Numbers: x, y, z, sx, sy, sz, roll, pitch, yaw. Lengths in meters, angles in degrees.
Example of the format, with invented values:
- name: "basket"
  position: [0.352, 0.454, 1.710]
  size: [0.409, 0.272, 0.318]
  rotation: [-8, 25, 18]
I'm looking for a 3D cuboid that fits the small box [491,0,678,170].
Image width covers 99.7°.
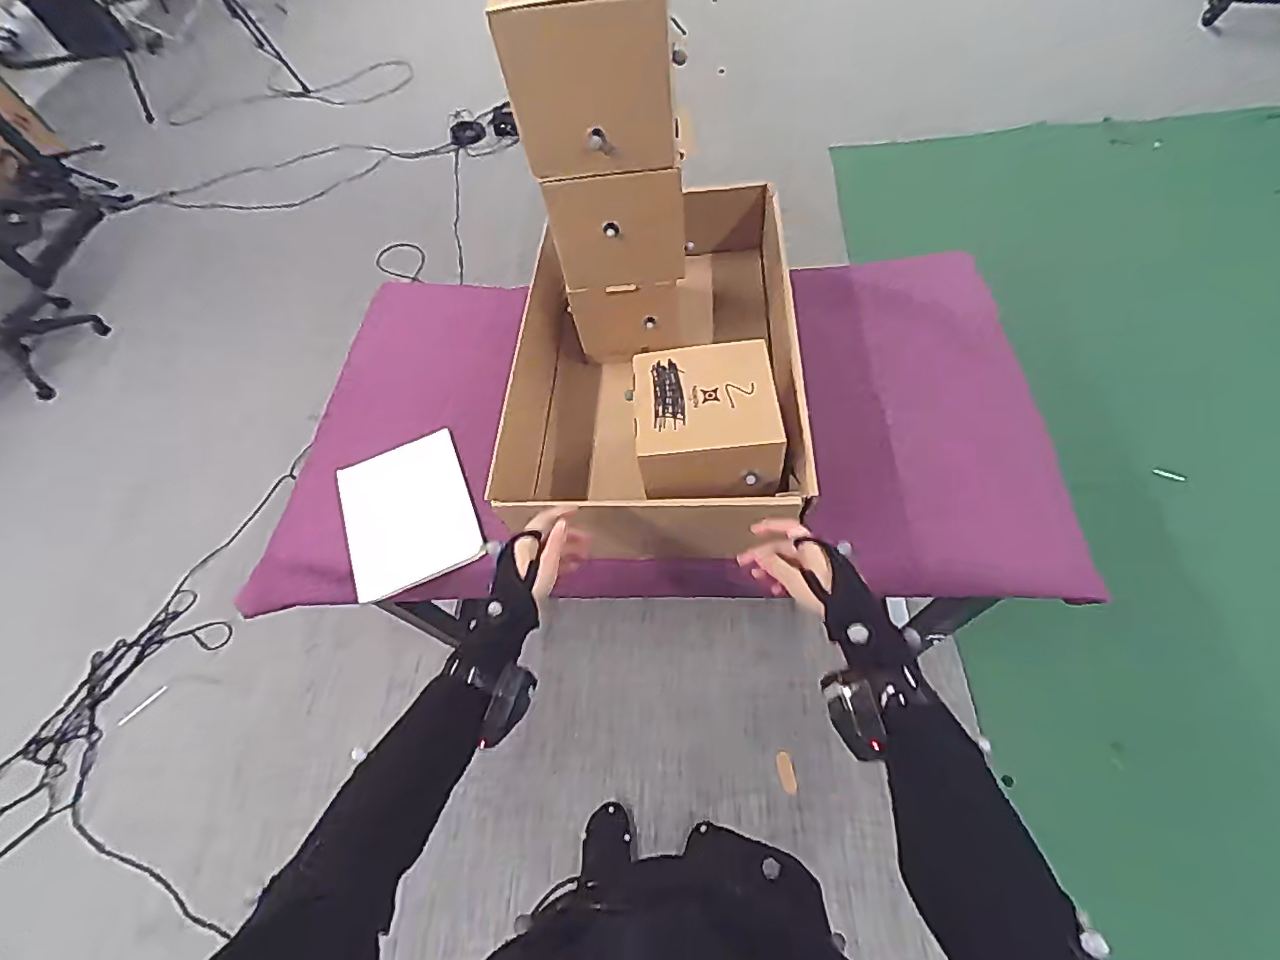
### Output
- name: "small box"
  position: [-0.046, -0.481, 0.611]
  size: [0.179, 0.176, 0.168]
  rotation: [-1, 61, 6]

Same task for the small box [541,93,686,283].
- name: "small box"
  position: [-0.026, -0.398, 0.752]
  size: [0.179, 0.176, 0.168]
  rotation: [-3, 61, 6]
